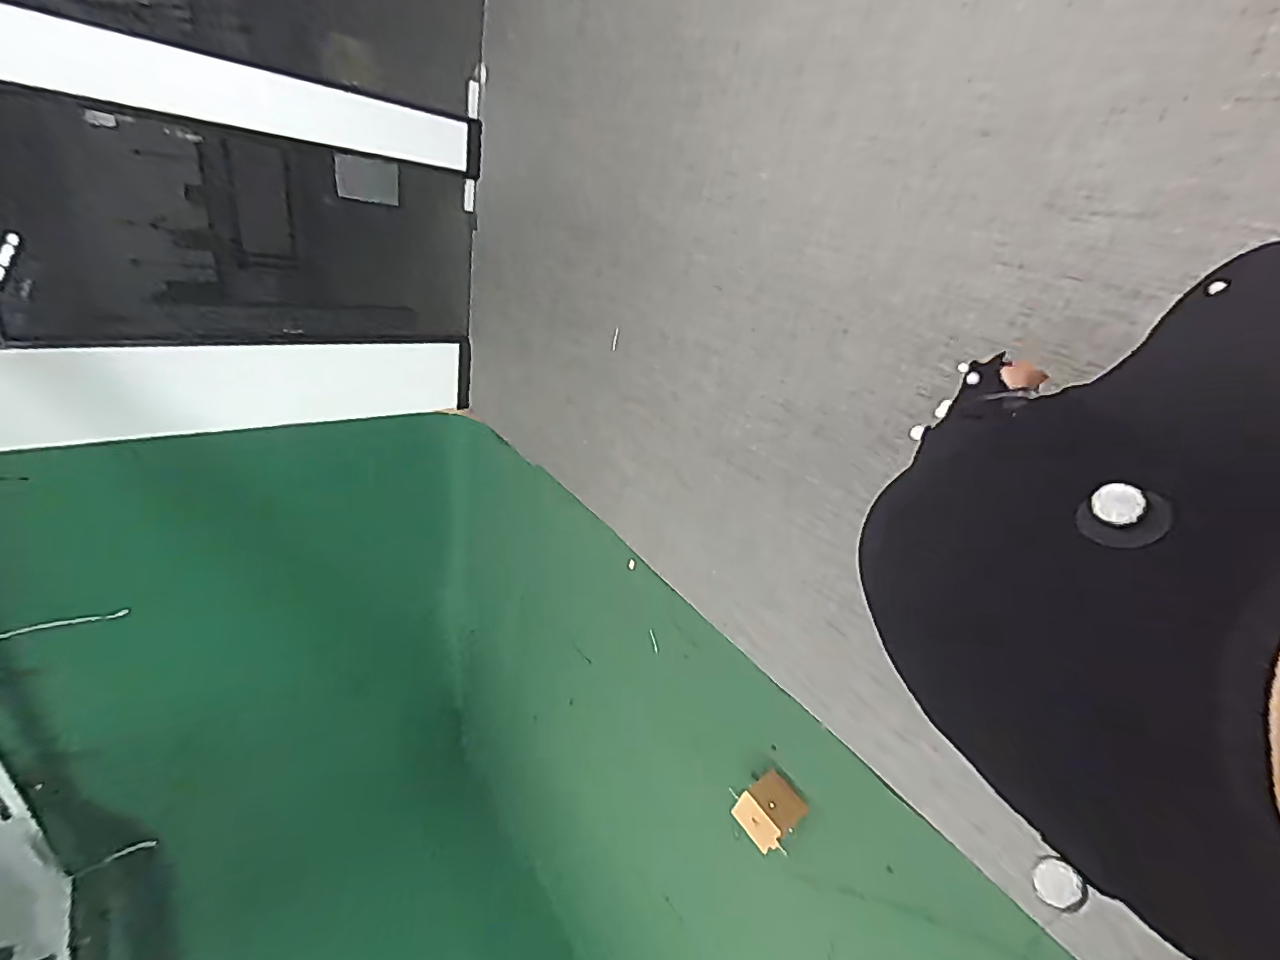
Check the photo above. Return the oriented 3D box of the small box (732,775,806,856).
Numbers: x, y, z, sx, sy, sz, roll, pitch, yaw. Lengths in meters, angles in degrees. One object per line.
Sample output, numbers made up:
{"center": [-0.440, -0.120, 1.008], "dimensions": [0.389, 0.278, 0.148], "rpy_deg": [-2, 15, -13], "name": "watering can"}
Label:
{"center": [0.481, 1.238, 2.015], "dimensions": [0.179, 0.176, 0.168], "rpy_deg": [42, 128, 36], "name": "small box"}
